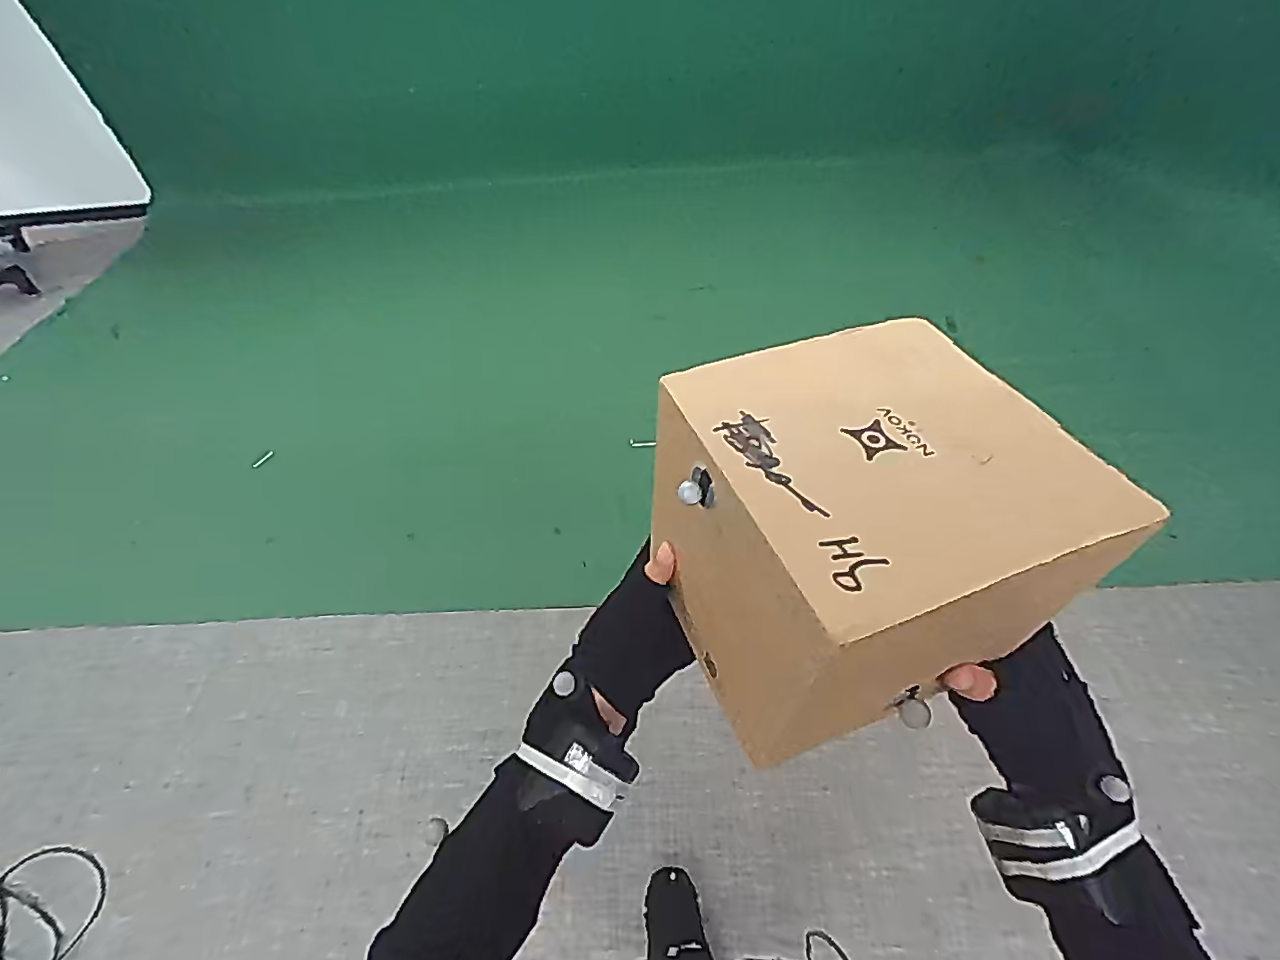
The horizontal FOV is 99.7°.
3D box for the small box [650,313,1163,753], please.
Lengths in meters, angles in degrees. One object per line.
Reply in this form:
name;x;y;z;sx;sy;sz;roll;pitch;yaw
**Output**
small box;0.116;0.029;0.319;0.179;0.176;0.168;-14;50;-16
